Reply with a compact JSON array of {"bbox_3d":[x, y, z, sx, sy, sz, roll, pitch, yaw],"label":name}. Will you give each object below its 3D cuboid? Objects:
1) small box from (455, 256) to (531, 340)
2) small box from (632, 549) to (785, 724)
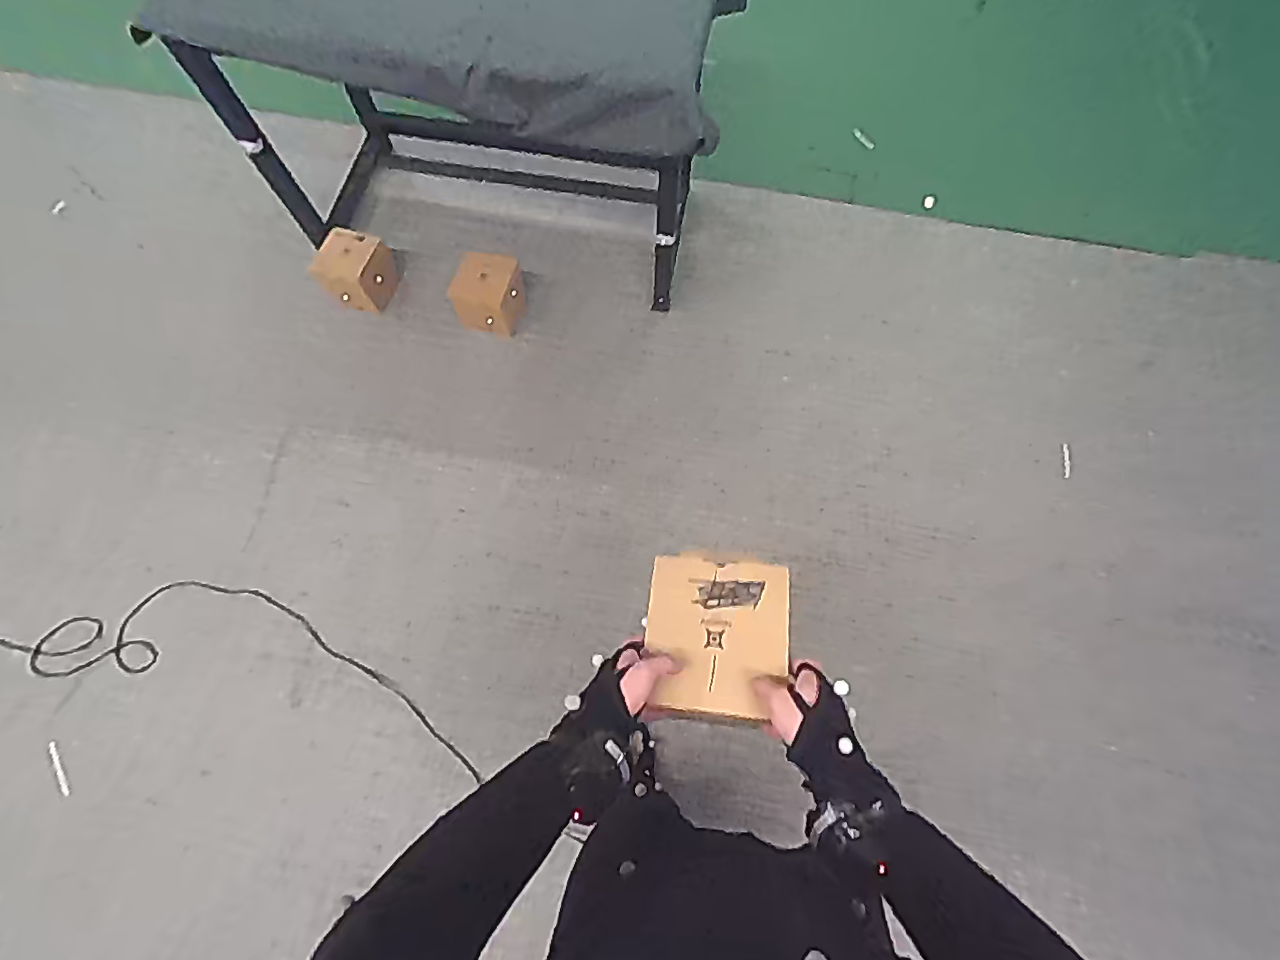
[{"bbox_3d":[-0.458,-0.574,1.719,0.168,0.176,0.179,13,68,4],"label":"small box"},{"bbox_3d":[0.093,0.204,0.692,0.168,0.176,0.179,2,64,11],"label":"small box"}]
